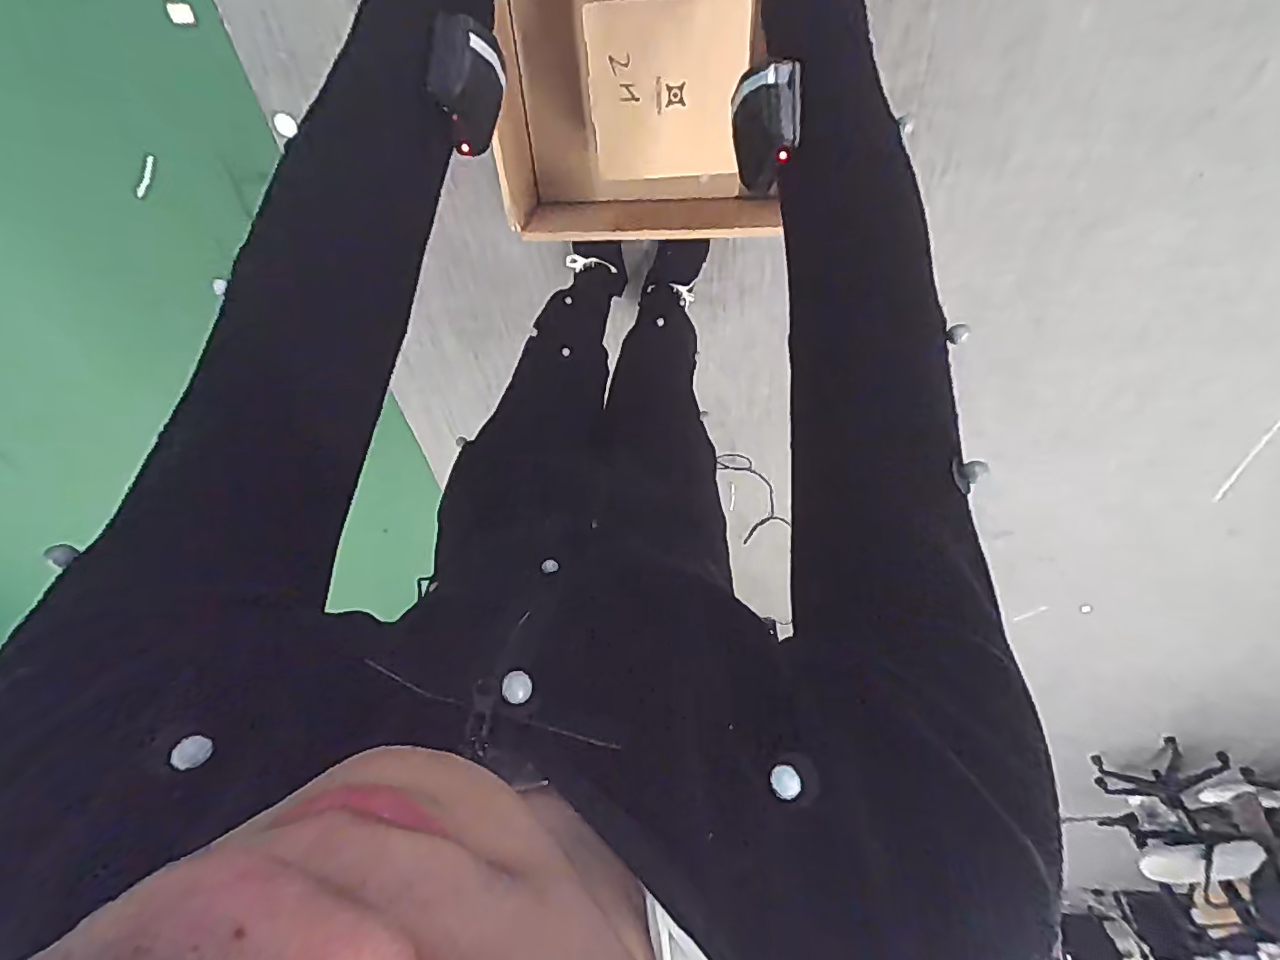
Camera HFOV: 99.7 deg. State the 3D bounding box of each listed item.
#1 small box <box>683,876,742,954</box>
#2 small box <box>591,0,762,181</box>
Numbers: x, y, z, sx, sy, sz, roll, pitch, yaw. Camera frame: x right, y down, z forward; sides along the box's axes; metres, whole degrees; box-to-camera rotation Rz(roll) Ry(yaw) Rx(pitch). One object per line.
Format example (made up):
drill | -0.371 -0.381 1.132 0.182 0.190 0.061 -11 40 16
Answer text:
small box | 0.229 1.378 1.714 0.179 0.176 0.168 -5 132 7
small box | 0.041 -0.477 0.654 0.179 0.176 0.168 -1 132 4
